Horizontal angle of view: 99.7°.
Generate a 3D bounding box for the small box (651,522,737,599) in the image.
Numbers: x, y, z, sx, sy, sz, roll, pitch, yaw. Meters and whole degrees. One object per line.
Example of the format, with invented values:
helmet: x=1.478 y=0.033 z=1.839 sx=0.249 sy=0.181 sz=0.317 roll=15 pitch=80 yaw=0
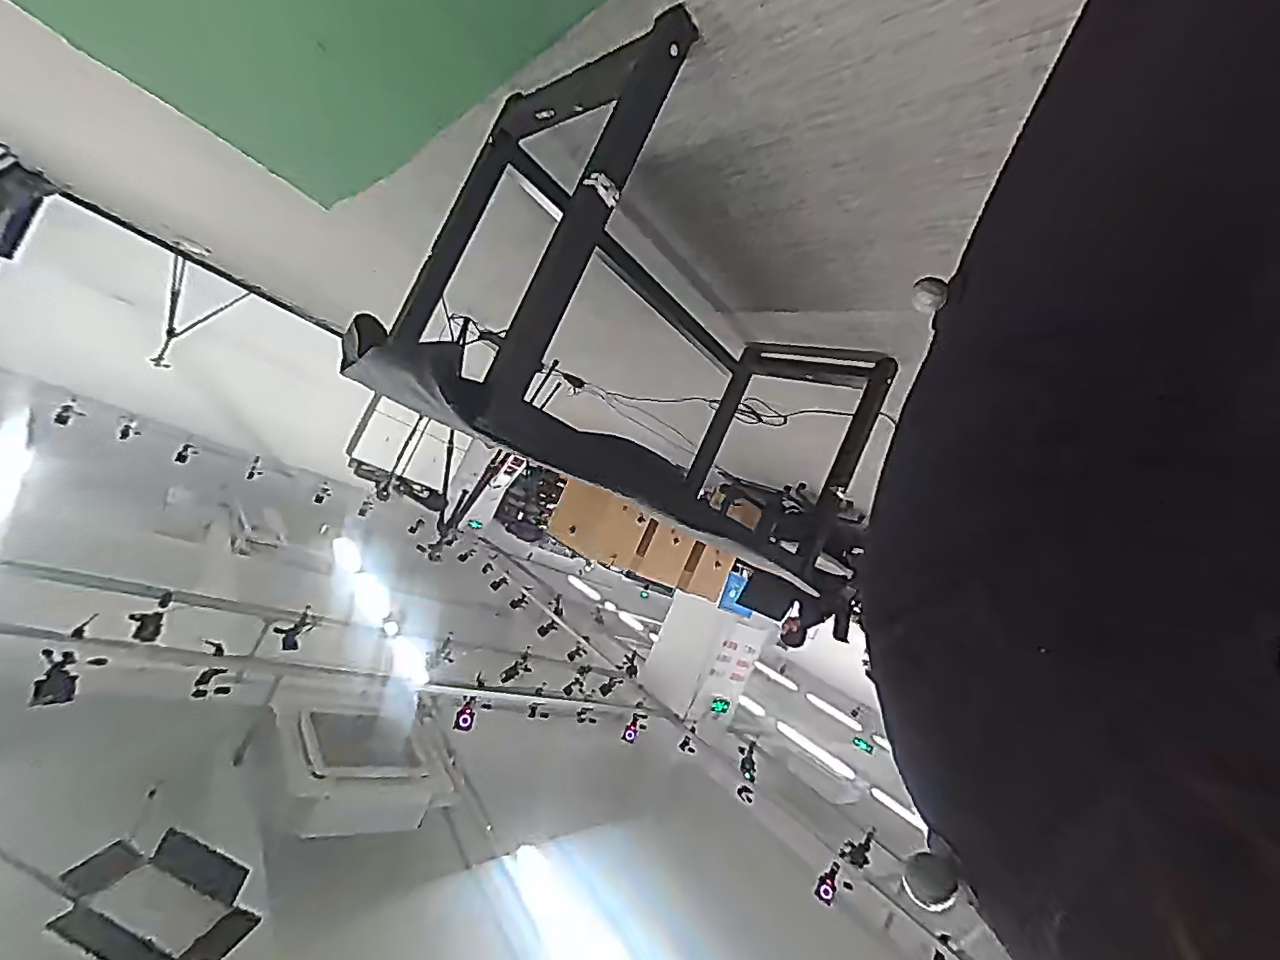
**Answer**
small box: x=0.171 y=0.245 z=1.685 sx=0.168 sy=0.176 sz=0.179 roll=28 pitch=175 yaw=-42
